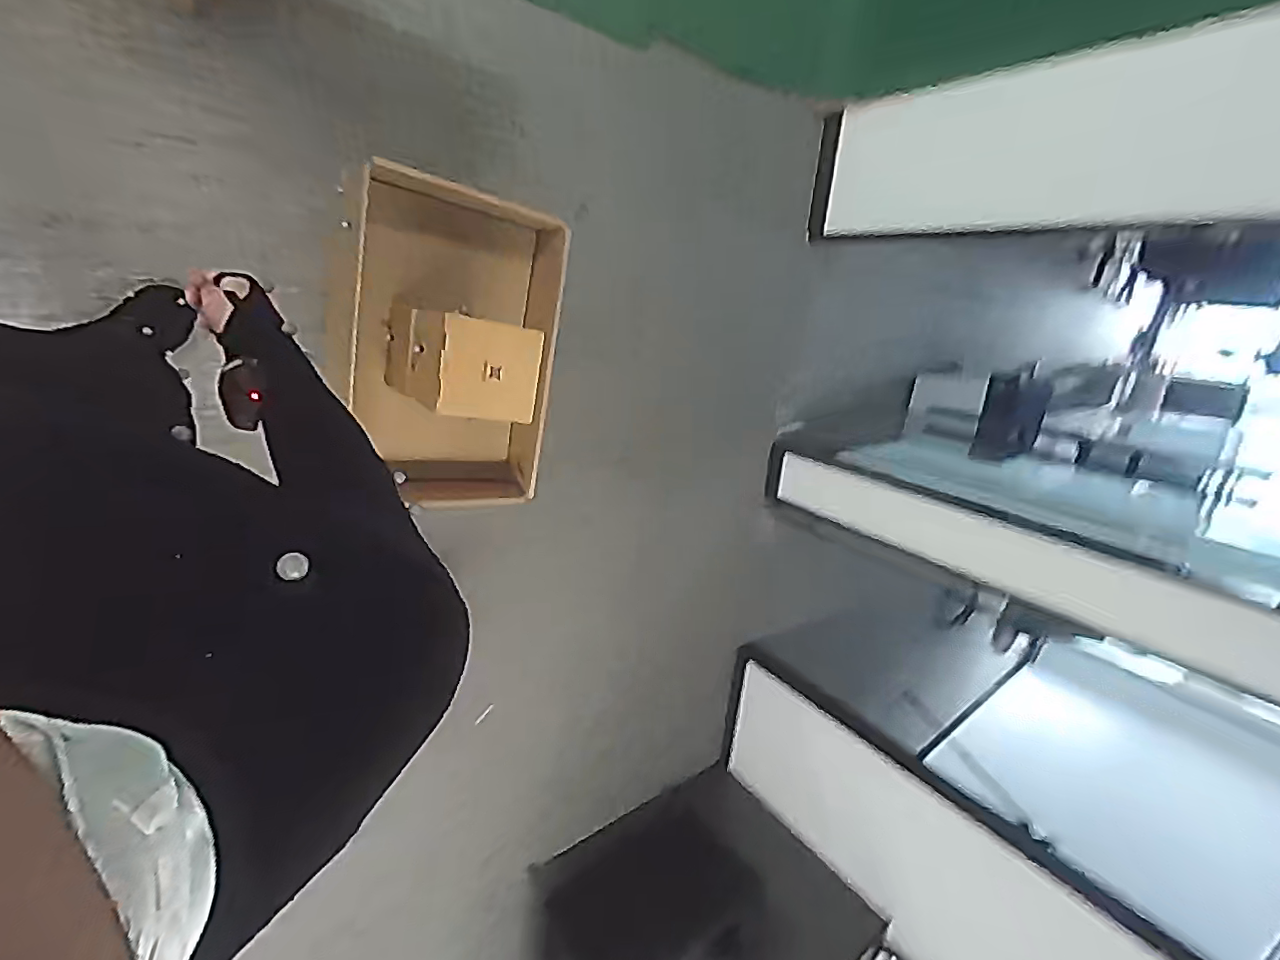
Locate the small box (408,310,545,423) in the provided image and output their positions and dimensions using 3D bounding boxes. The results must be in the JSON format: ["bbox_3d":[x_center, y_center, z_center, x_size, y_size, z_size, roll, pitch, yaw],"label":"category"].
[{"bbox_3d":[-0.300,-0.208,0.981,0.179,0.176,0.168,1,106,-39],"label":"small box"}]
